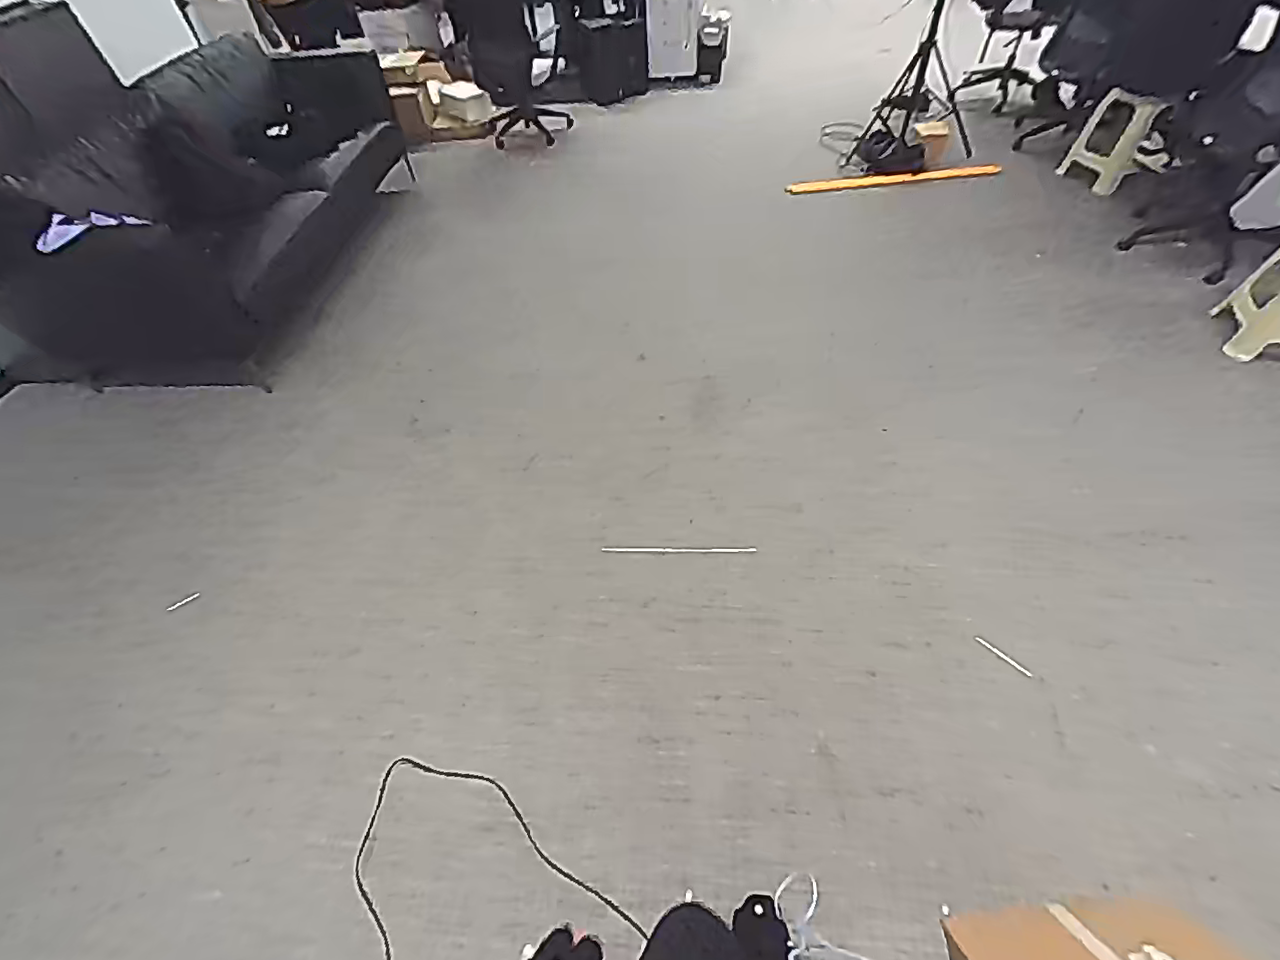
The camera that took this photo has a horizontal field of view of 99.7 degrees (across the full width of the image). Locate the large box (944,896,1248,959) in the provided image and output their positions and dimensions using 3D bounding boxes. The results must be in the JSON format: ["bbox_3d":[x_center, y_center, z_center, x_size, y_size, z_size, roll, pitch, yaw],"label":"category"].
[{"bbox_3d":[0.606,0.741,0.571,0.320,0.408,0.320,-9,80,4],"label":"large box"}]
